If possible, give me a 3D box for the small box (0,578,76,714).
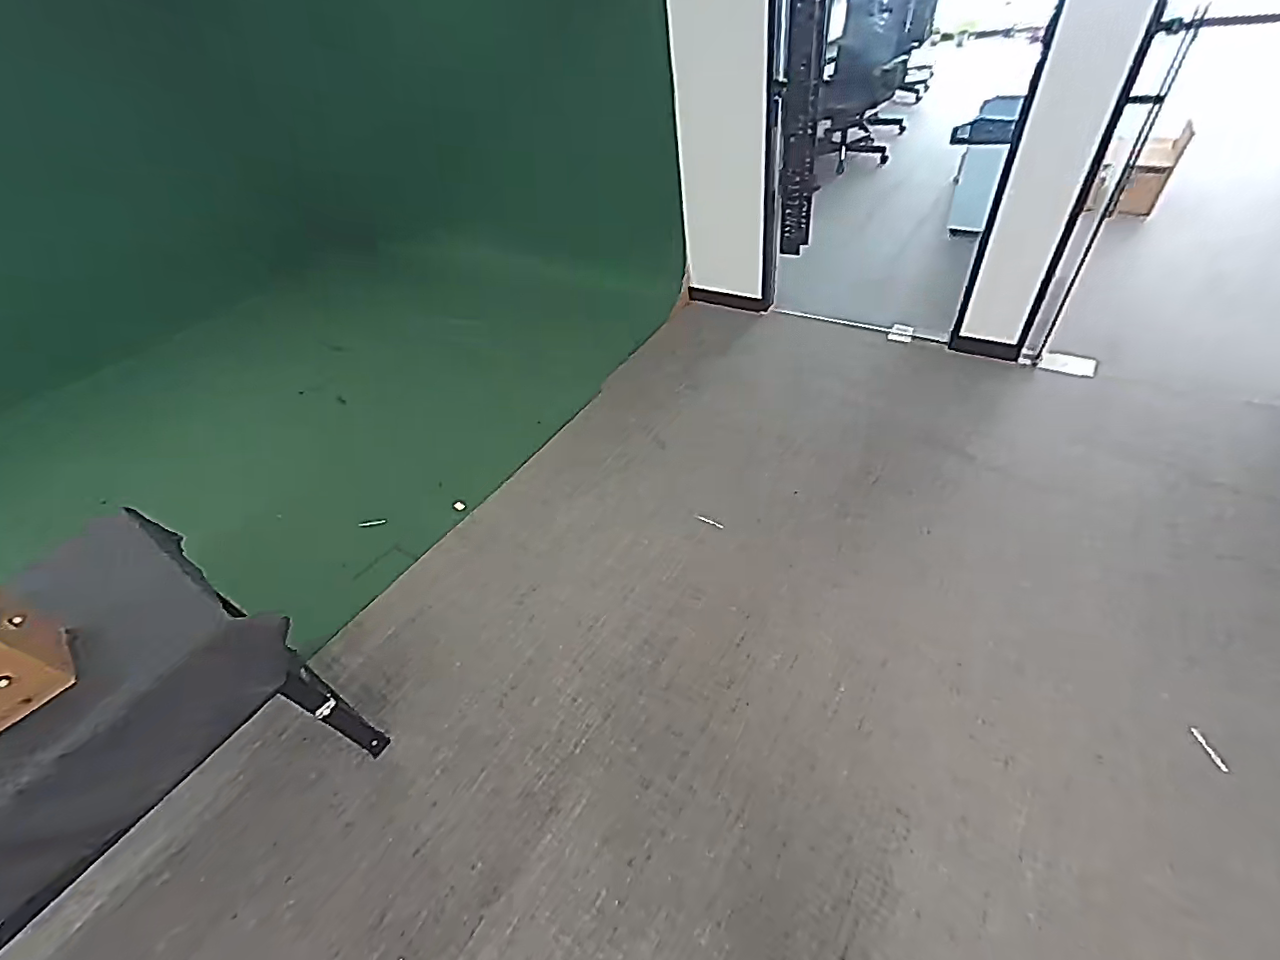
[{"bbox_3d":[-1.187,0.312,0.979,0.179,0.176,0.168,31,56,35],"label":"small box"}]
